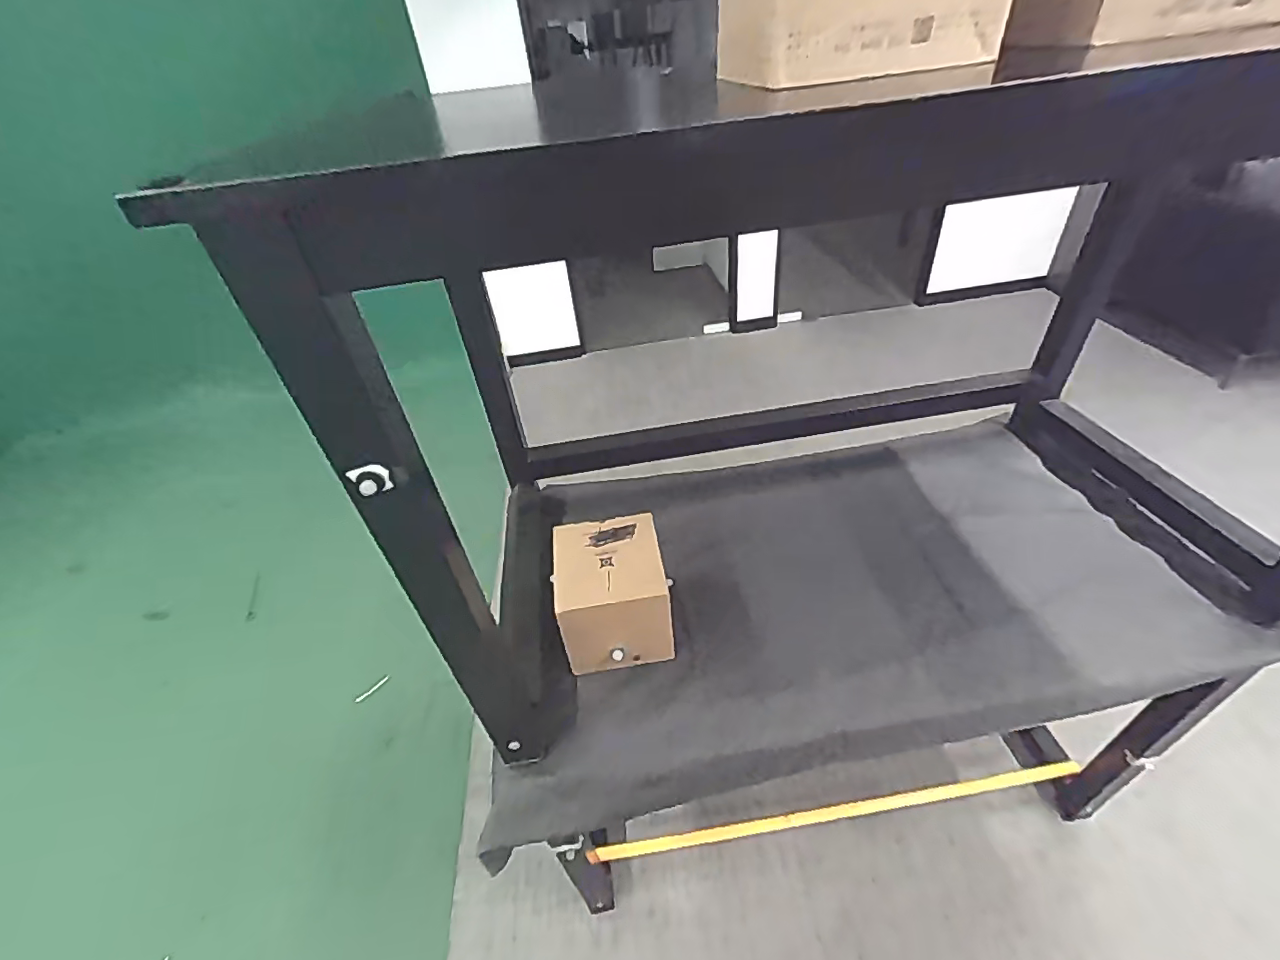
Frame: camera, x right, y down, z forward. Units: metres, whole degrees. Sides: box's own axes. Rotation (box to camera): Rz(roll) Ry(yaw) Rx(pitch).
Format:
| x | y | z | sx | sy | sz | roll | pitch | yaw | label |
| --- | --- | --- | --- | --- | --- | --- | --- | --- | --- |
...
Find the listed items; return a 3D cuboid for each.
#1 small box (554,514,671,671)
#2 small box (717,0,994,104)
| x | y | z | sx | sy | sz | roll | pitch | yaw | label |
| --- | --- | --- | --- | --- | --- | --- | --- | --- | --- |
| -0.045 | 0.183 | 0.885 | 0.168 | 0.176 | 0.179 | -9 | 40 | -3 | small box |
| 0.157 | -0.399 | 0.413 | 0.168 | 0.176 | 0.179 | -9 | 39 | -2 | small box |
